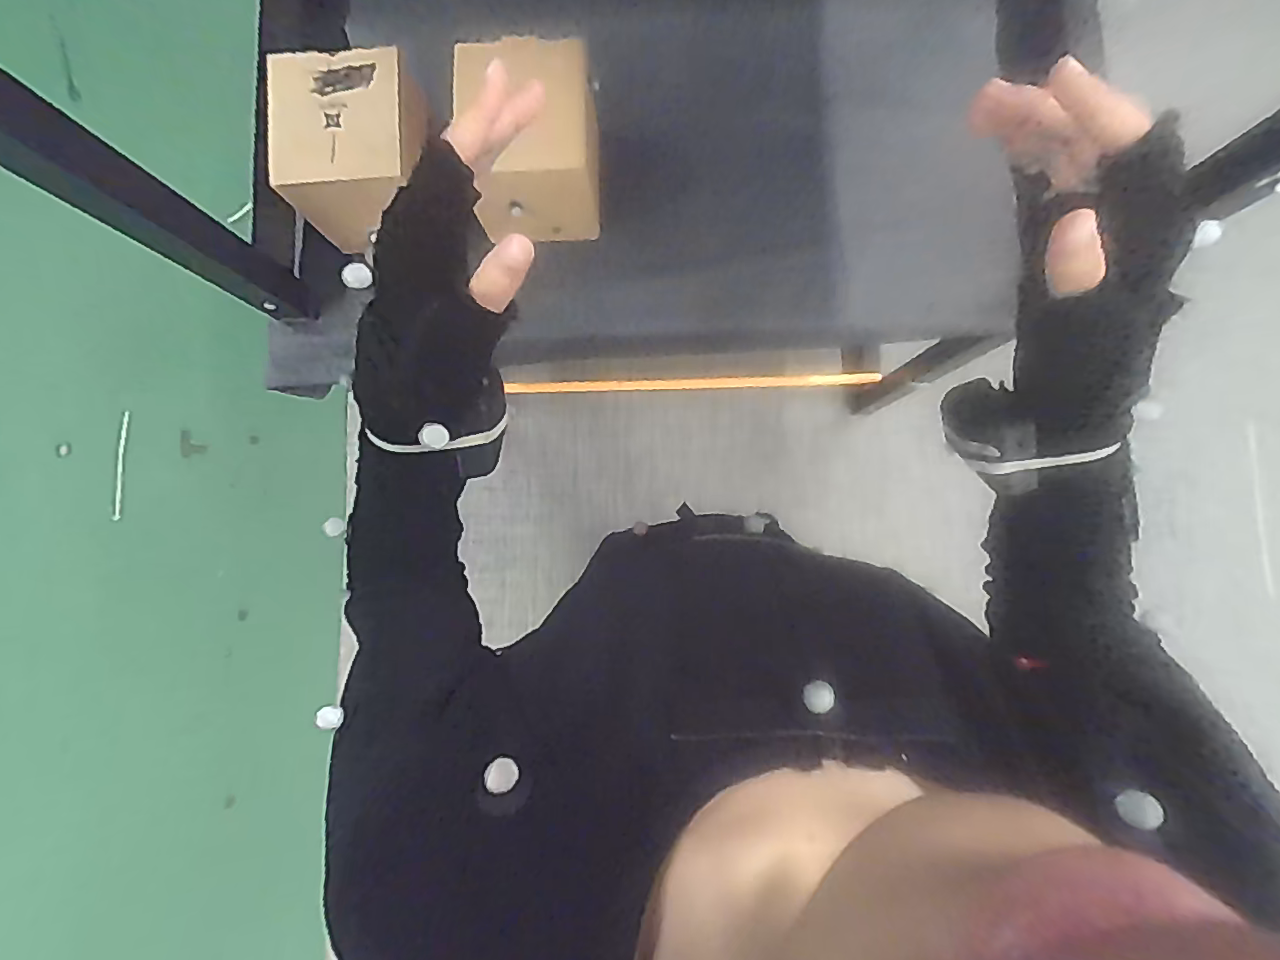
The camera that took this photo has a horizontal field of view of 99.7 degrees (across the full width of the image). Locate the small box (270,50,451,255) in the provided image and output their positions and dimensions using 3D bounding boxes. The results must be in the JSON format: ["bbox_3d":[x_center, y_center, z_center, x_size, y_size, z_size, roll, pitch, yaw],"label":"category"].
[{"bbox_3d":[-0.371,-0.438,0.745,0.168,0.176,0.179,-4,84,1],"label":"small box"}]

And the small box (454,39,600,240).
[{"bbox_3d":[-0.144,-0.450,0.743,0.168,0.176,0.179,-1,83,1],"label":"small box"}]
